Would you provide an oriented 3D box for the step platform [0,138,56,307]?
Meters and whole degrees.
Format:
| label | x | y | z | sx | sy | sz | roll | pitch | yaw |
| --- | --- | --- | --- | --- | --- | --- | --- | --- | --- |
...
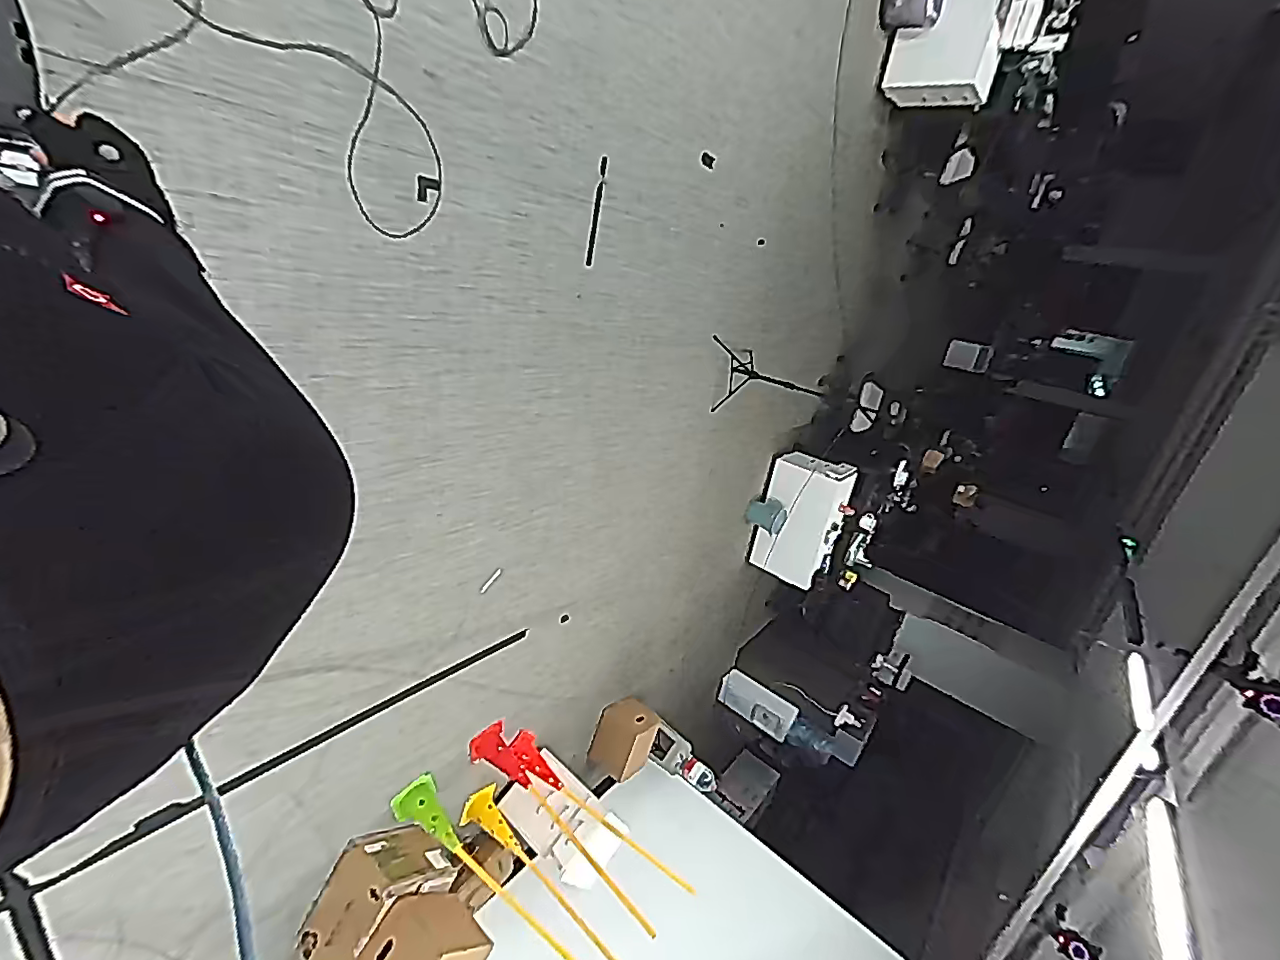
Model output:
| label | x | y | z | sx | sy | sz | roll | pitch | yaw |
| --- | --- | --- | --- | --- | --- | --- | --- | --- | --- |
| step platform | -1.344 | -0.413 | 0.776 | 0.684 | 0.204 | 0.286 | -18 | 125 | -48 |
